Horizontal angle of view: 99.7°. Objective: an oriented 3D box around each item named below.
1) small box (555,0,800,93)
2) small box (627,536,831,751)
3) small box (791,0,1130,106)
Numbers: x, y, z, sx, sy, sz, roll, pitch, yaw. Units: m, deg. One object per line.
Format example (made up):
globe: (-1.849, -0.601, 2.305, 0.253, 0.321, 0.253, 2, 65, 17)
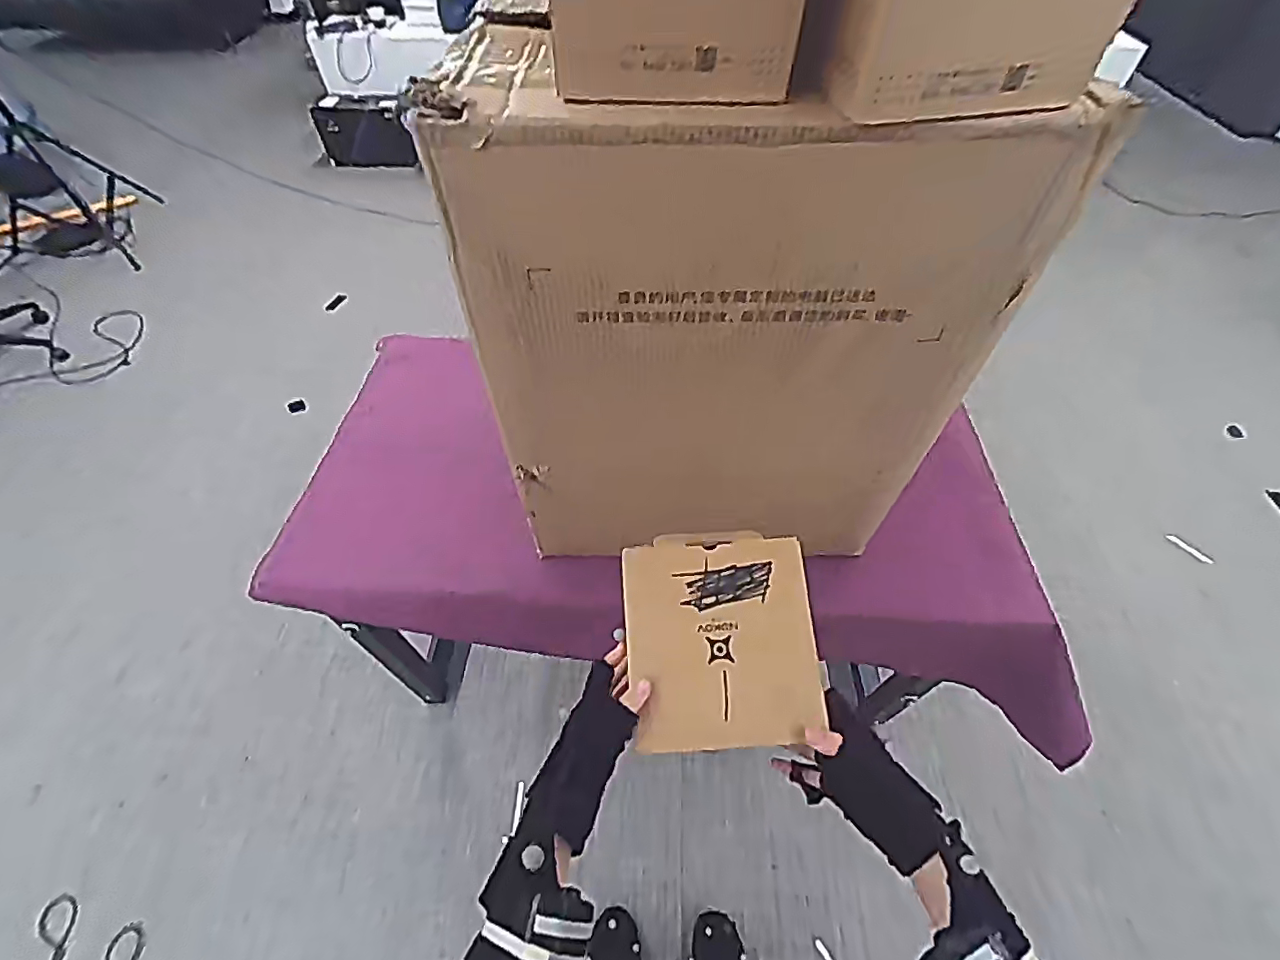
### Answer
small box: (0.025, -0.394, 0.377, 0.168, 0.176, 0.179, 0, 51, -3)
small box: (0.072, 0.165, 0.546, 0.168, 0.176, 0.179, -4, 70, 0)
small box: (0.213, -0.372, 0.358, 0.168, 0.176, 0.179, -8, 51, -4)
